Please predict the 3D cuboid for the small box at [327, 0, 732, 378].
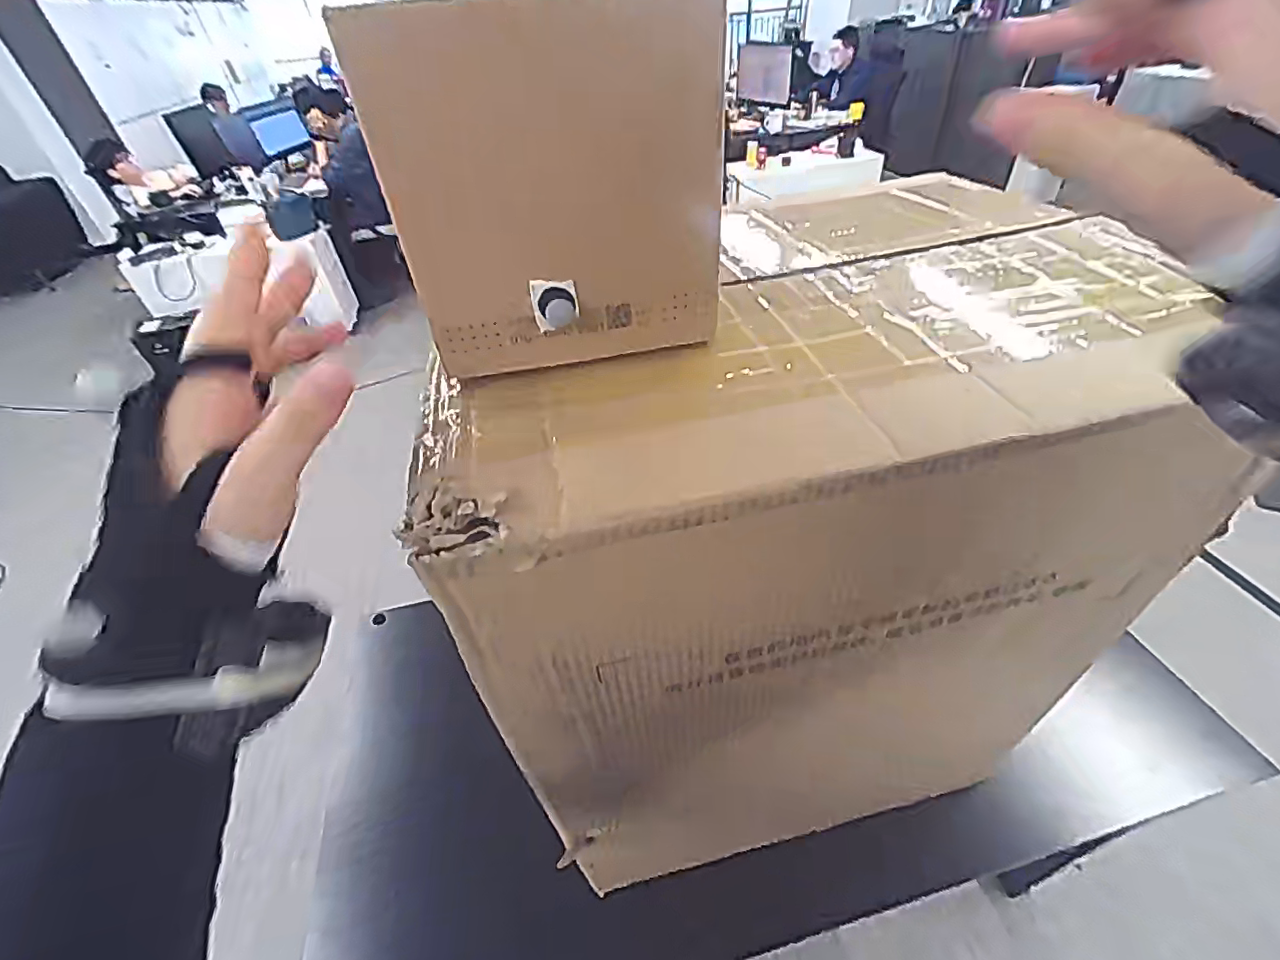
[{"bbox_3d":[-0.053,-0.184,0.330,0.168,0.176,0.179,-12,42,-7],"label":"small box"}]
